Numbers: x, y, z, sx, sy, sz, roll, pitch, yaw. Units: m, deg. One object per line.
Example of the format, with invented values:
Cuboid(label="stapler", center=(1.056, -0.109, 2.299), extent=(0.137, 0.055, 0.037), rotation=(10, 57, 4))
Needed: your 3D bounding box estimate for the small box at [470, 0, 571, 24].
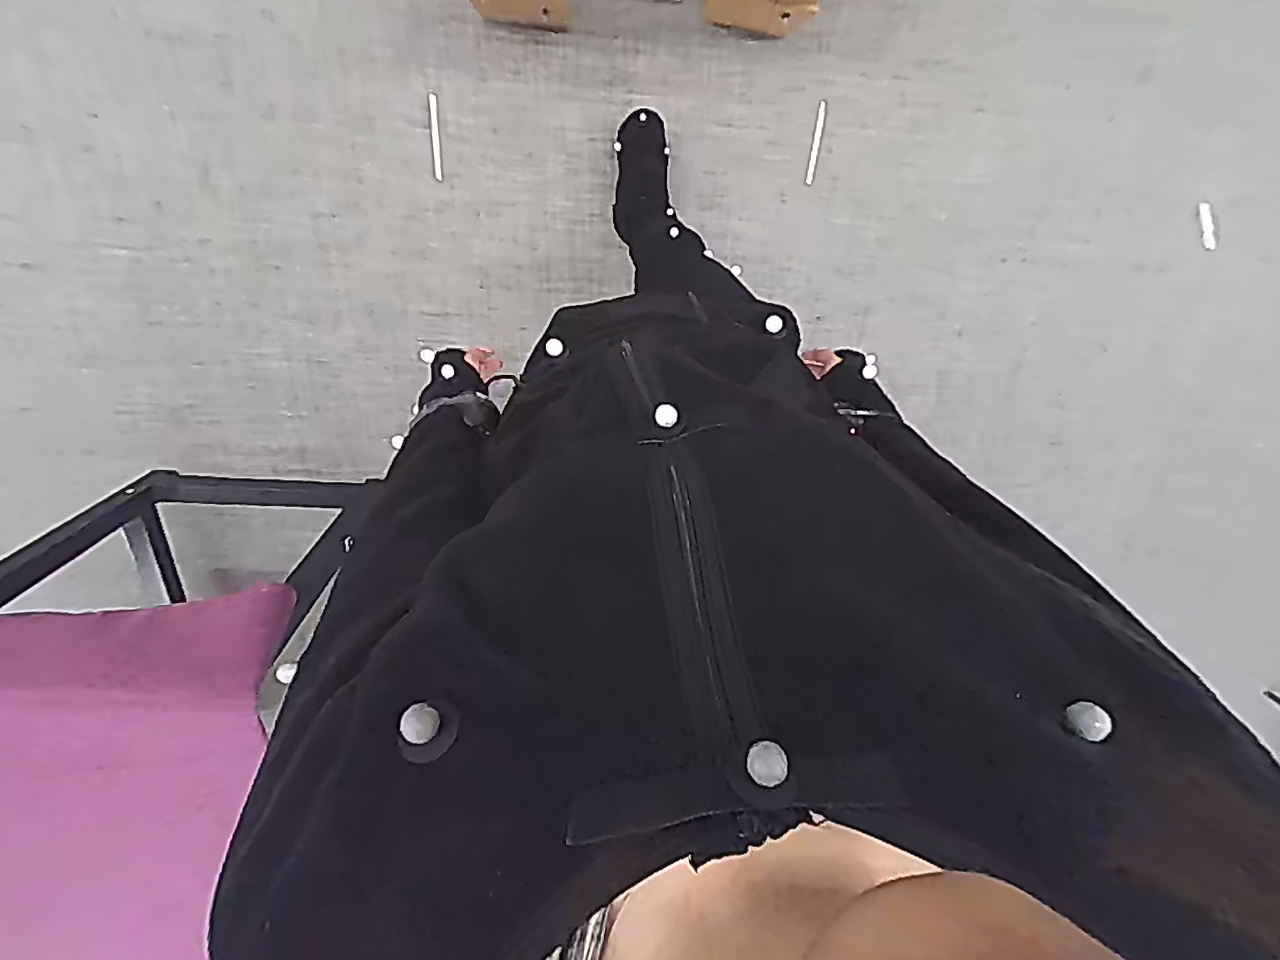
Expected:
Cuboid(label="small box", center=(-0.207, -0.907, 0.921), extent=(0.179, 0.176, 0.168), rotation=(0, 116, -4))

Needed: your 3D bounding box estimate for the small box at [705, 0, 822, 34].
Cuboid(label="small box", center=(0.229, -0.922, 0.955), extent=(0.179, 0.176, 0.168), rotation=(5, 116, -9))
